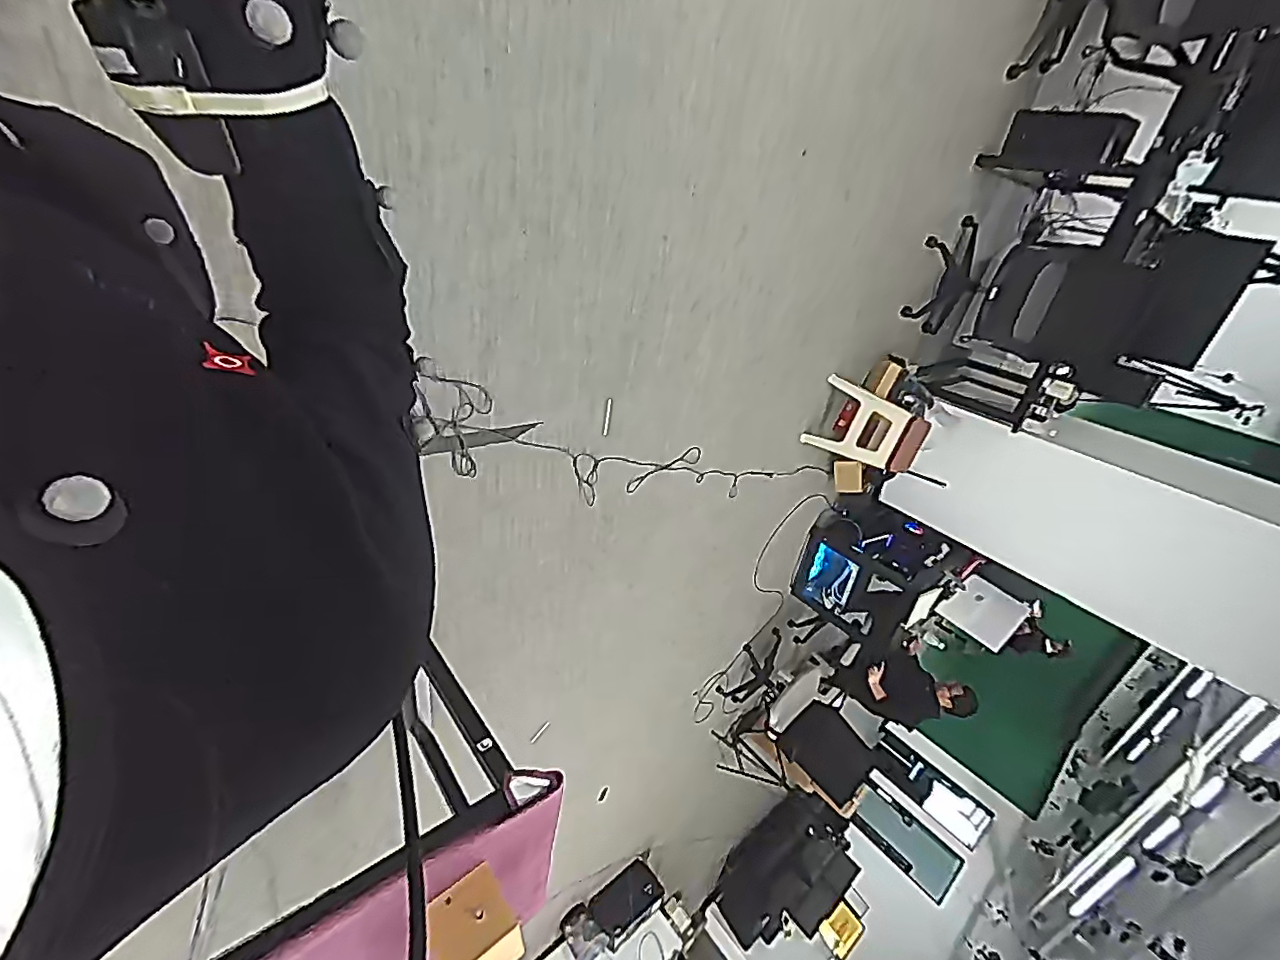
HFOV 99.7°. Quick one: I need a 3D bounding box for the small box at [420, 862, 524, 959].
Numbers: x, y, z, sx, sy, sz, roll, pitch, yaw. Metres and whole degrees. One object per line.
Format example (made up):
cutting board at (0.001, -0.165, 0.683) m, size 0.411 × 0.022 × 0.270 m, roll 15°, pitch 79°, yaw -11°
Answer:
small box at (-0.387, 1.033, 1.245) m, size 0.168 × 0.176 × 0.179 m, roll -23°, pitch 131°, yaw -34°
